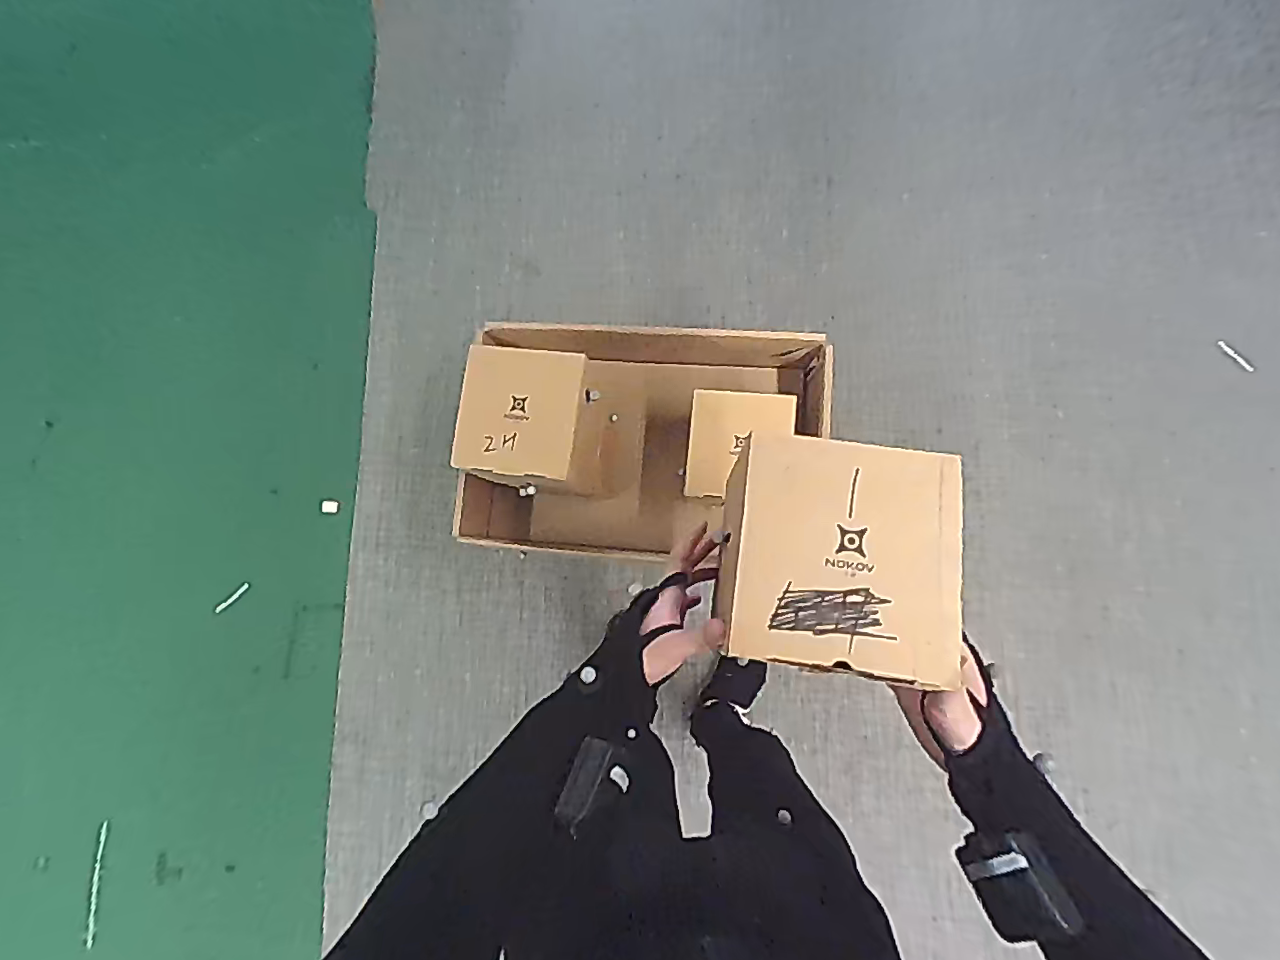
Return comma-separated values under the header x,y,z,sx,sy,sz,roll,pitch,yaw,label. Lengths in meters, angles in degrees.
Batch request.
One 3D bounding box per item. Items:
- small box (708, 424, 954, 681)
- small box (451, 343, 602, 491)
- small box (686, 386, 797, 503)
x,y,z,sx,sy,sz,roll,pitch,yaw,label
0.154,0.067,0.483,0.168,0.176,0.179,7,76,5,small box
-0.156,-0.086,0.807,0.168,0.176,0.179,6,84,8,small box
0.168,-0.051,0.934,0.168,0.176,0.179,4,85,7,small box
